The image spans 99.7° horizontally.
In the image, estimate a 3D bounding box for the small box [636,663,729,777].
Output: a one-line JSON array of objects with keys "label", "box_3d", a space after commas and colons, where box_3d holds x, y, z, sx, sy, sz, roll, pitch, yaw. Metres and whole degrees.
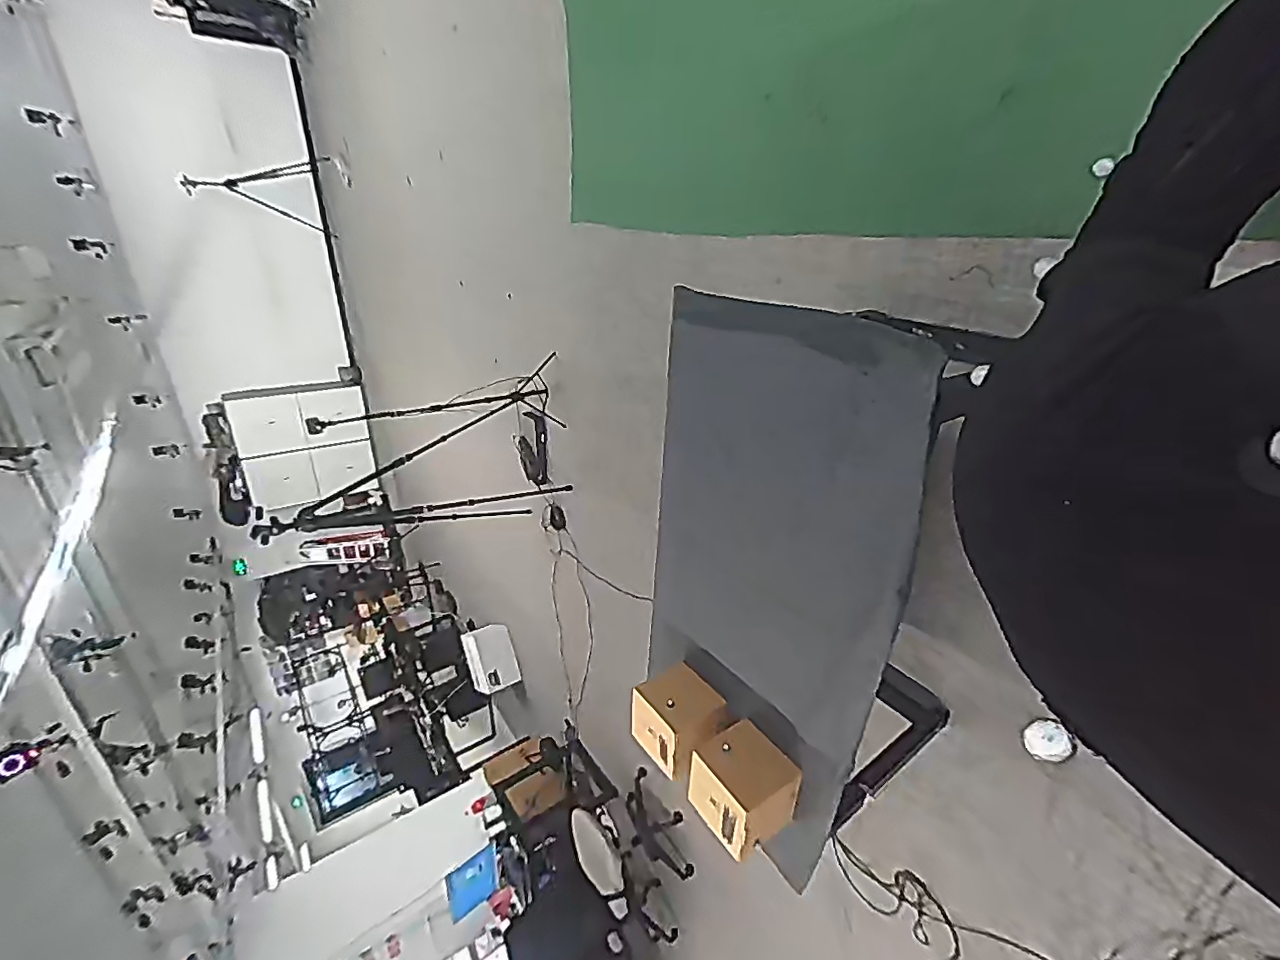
[{"label": "small box", "box_3d": [0.109, 0.605, 1.390, 0.179, 0.176, 0.168, 31, 127, 47]}]
